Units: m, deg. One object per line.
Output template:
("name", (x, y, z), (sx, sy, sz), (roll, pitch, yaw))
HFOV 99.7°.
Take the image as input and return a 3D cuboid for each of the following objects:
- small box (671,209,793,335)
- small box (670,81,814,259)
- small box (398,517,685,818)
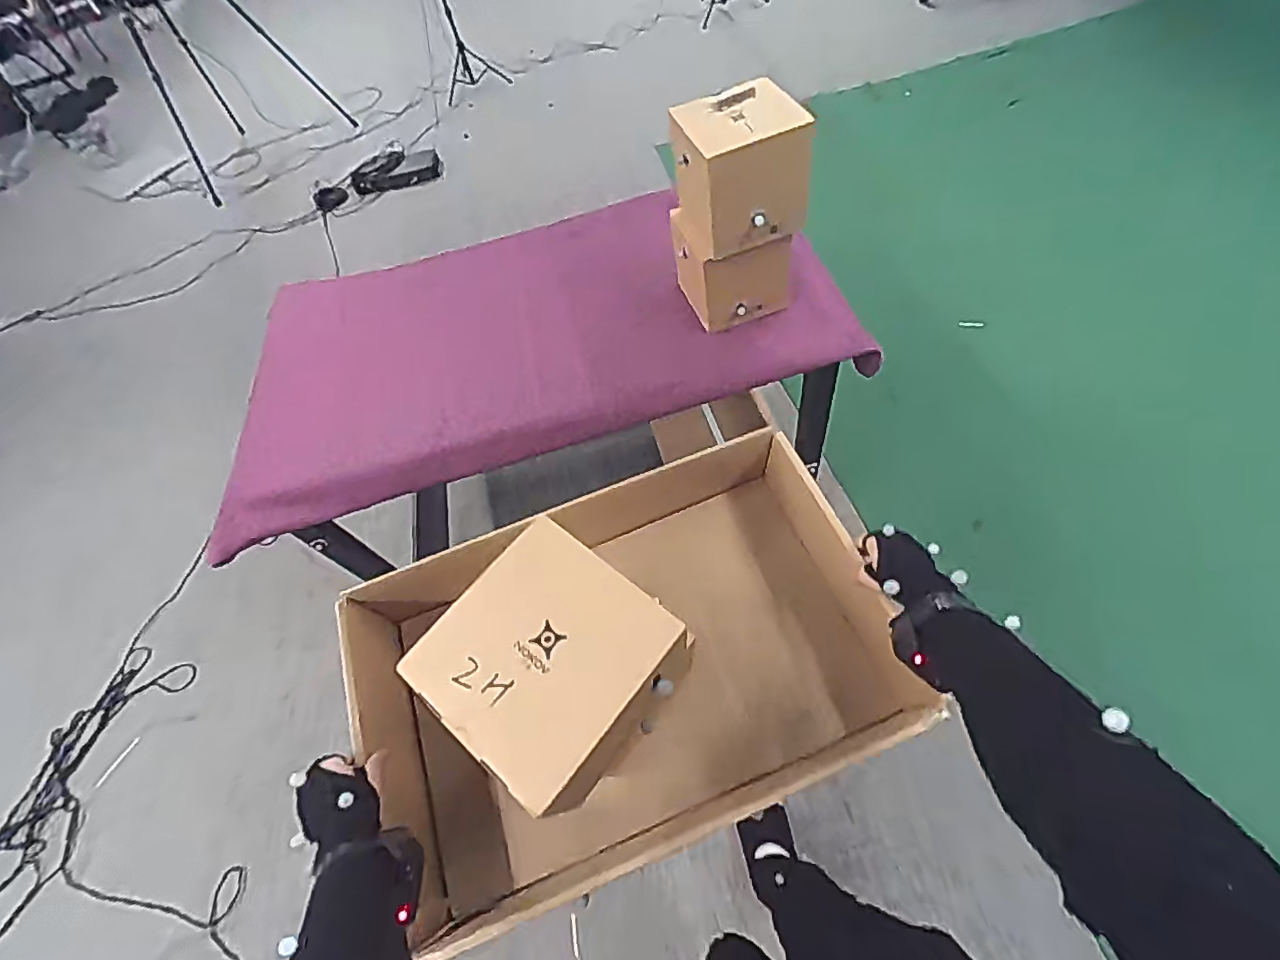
("small box", (0.168, -0.404, 1.004), (0.168, 0.176, 0.179), (-20, 55, 0))
("small box", (0.158, -0.489, 0.863), (0.168, 0.176, 0.179), (-20, 55, 0))
("small box", (-0.075, 0.172, 0.502), (0.168, 0.176, 0.179), (35, 70, 22))
